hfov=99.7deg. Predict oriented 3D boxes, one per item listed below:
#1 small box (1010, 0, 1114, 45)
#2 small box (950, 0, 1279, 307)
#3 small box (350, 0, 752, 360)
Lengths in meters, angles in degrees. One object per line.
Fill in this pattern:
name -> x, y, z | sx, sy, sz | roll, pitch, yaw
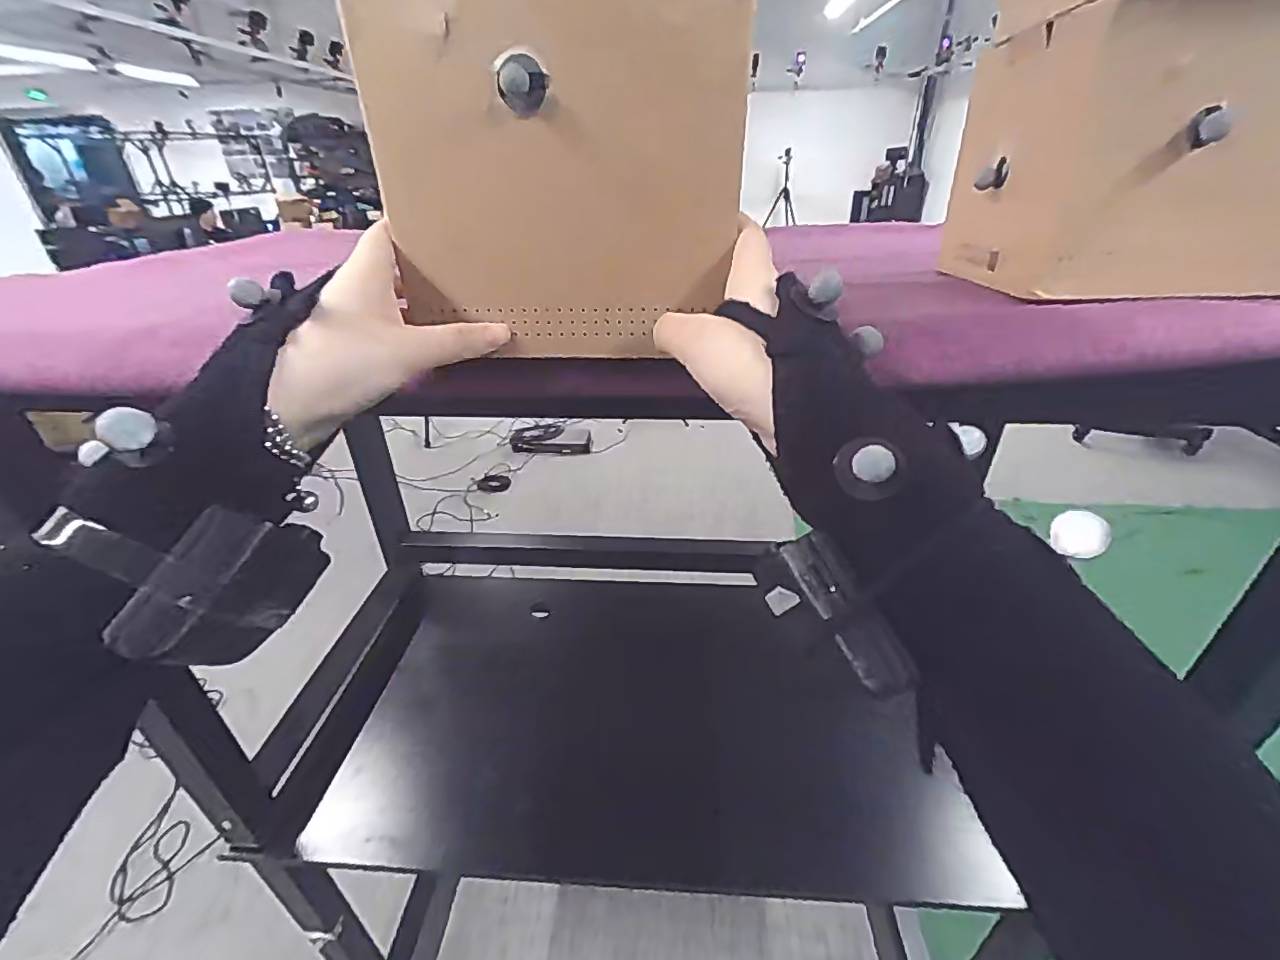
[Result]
small box -> 0.348, -0.365, 0.309 | 0.179, 0.176, 0.168 | 1, 28, 5
small box -> 0.354, -0.227, 0.397 | 0.179, 0.176, 0.168 | 0, 28, 5
small box -> -0.032, -0.177, 0.327 | 0.179, 0.176, 0.168 | 1, 31, 3
